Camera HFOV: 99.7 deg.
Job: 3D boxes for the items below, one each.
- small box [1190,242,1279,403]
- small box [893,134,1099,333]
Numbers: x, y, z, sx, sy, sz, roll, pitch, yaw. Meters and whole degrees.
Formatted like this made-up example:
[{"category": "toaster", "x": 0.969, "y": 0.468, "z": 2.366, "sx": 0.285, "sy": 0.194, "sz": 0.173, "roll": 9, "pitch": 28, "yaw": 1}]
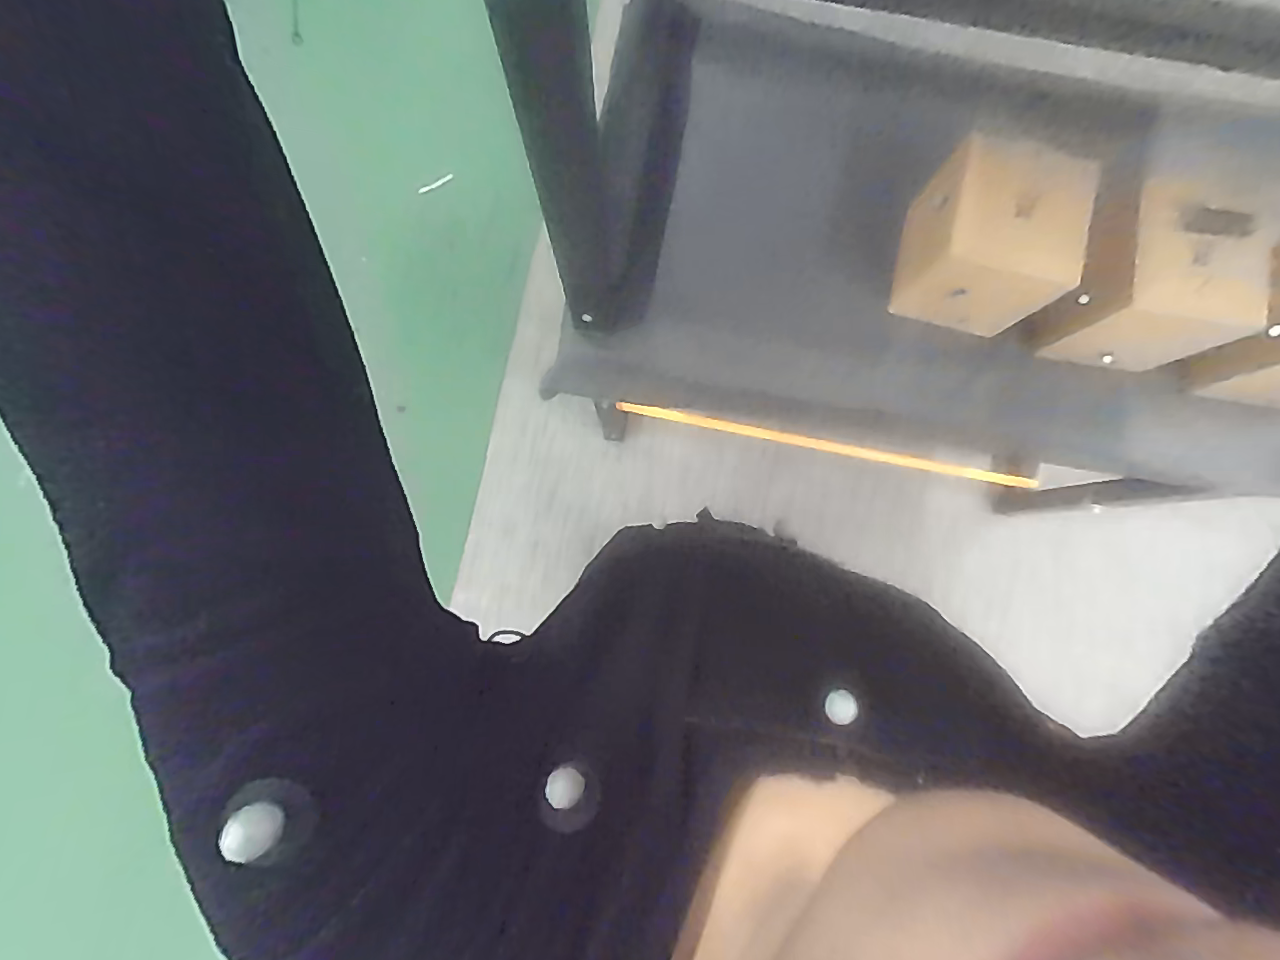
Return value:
[{"category": "small box", "x": 0.912, "y": -0.214, "z": 0.737, "sx": 0.168, "sy": 0.176, "sz": 0.179, "roll": 9, "pitch": 82, "yaw": 1}, {"category": "small box", "x": 0.479, "y": -0.329, "z": 0.754, "sx": 0.168, "sy": 0.176, "sz": 0.179, "roll": 14, "pitch": 83, "yaw": 2}]
